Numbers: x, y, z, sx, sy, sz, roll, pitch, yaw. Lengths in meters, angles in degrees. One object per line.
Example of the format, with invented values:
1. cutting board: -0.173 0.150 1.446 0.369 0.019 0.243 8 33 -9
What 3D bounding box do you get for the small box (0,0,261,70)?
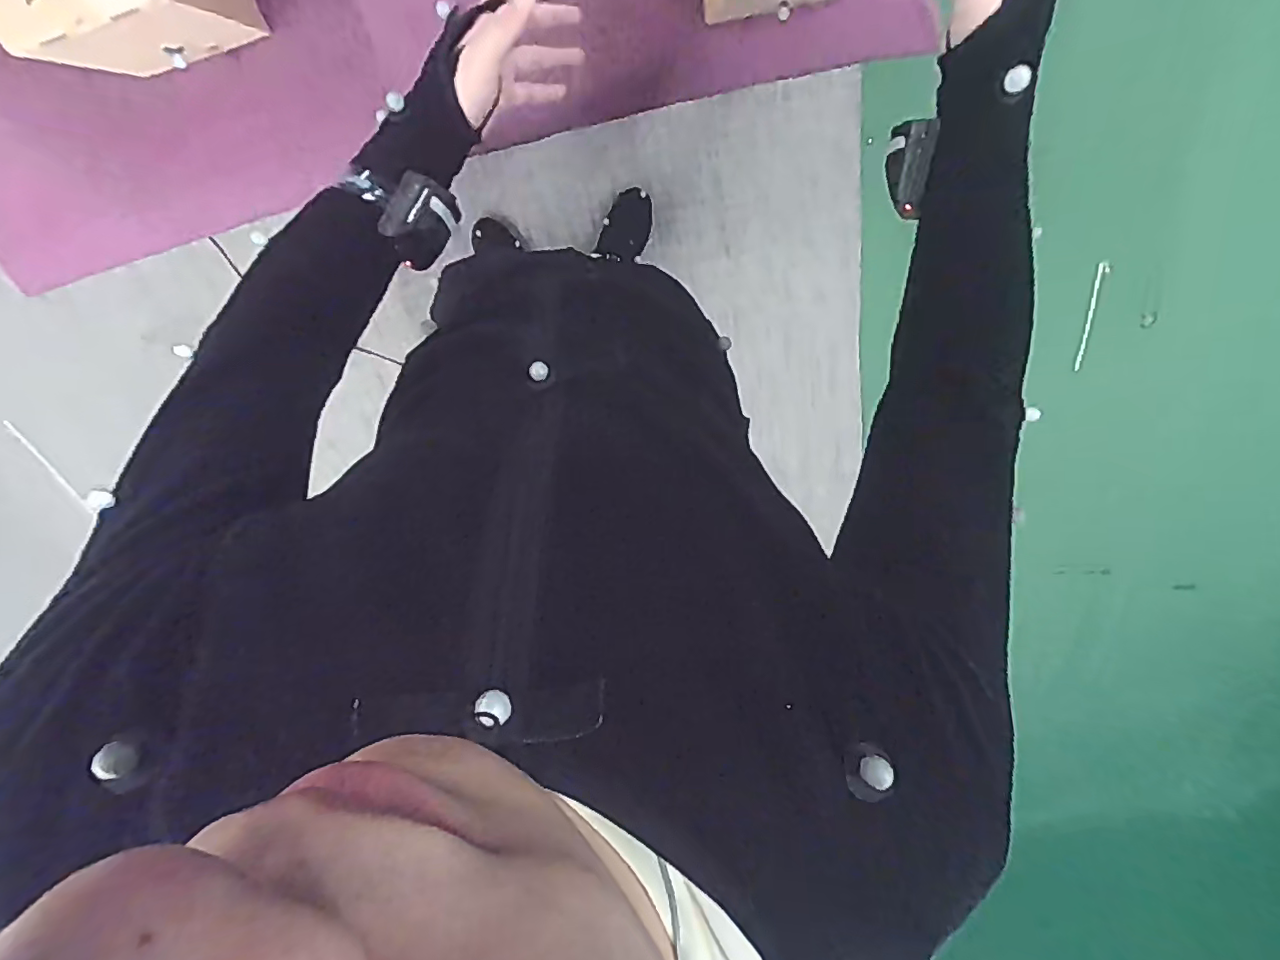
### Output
1. small box: -0.515 -0.517 0.504 0.168 0.176 0.179 -13 122 6
